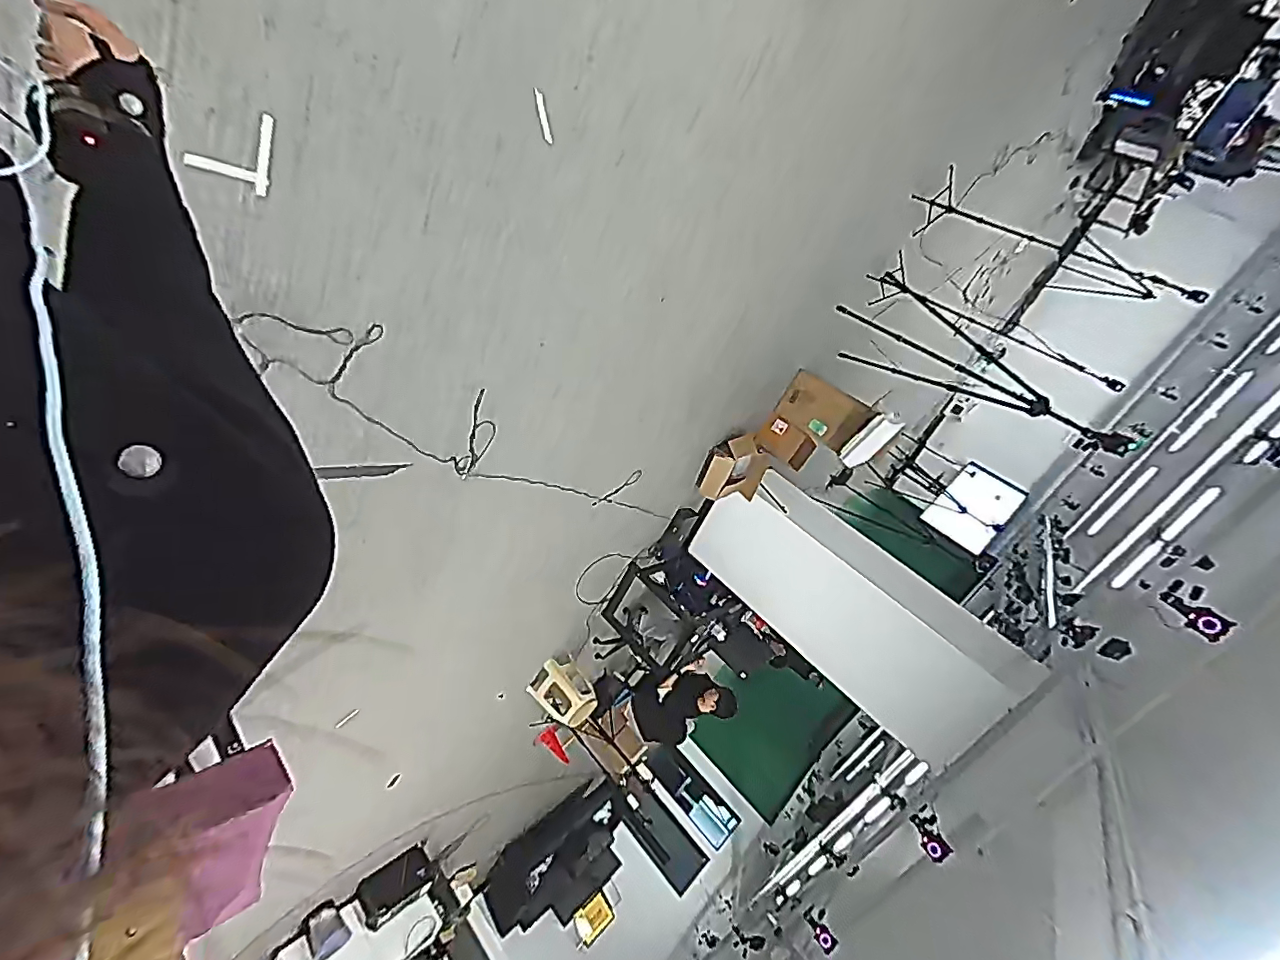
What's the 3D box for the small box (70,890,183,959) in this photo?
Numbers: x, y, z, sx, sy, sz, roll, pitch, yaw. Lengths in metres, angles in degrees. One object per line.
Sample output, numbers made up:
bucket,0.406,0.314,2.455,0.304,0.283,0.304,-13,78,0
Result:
small box,-1.254,1.157,1.318,0.168,0.176,0.179,-3,128,-55
